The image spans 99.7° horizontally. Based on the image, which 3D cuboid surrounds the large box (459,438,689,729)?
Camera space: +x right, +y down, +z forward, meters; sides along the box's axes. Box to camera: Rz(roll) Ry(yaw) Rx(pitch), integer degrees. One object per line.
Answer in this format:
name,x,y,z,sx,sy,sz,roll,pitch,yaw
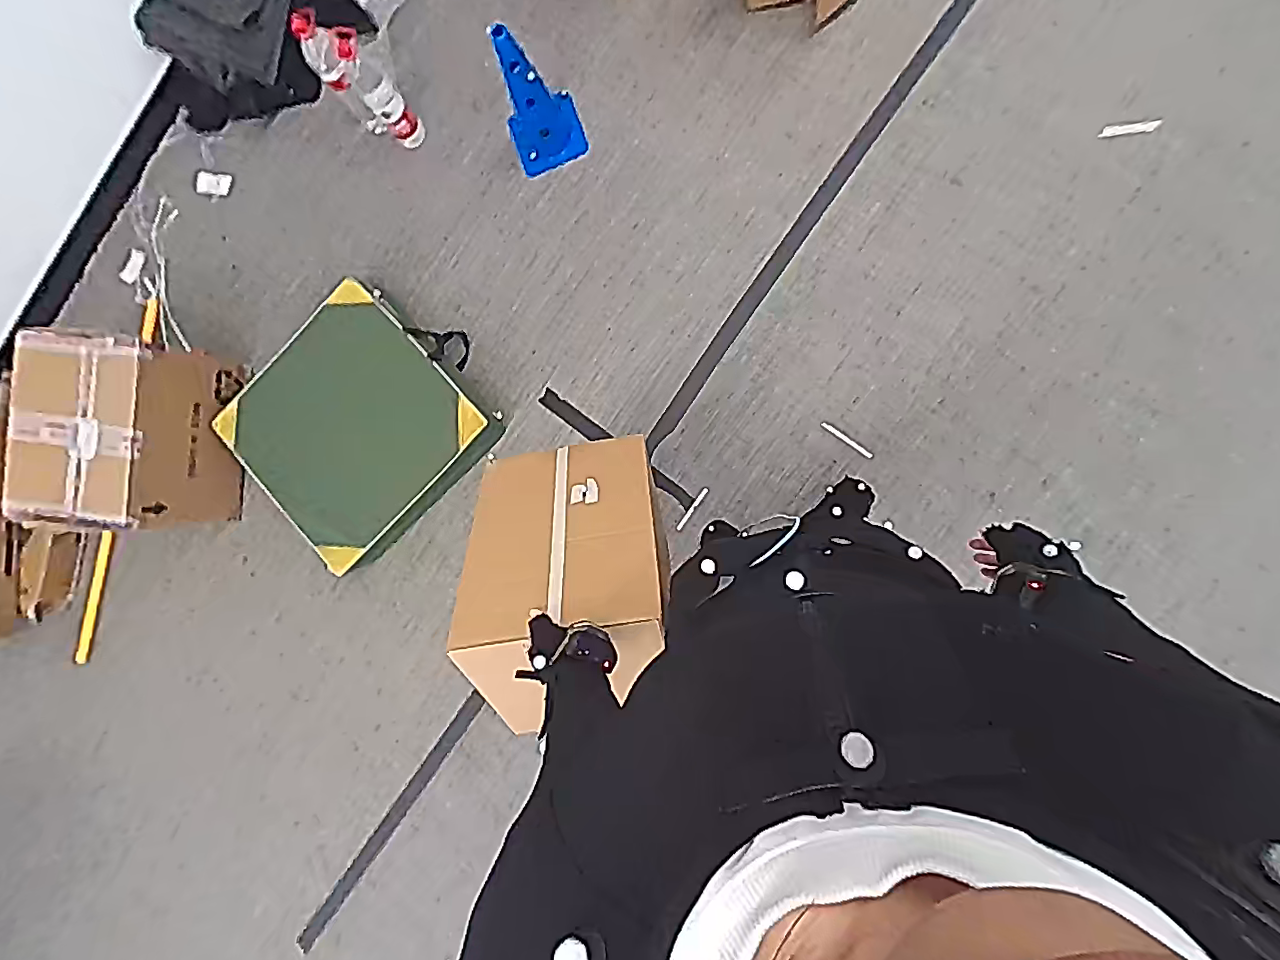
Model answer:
large box,-0.100,0.185,1.003,0.320,0.320,0.408,-9,43,4
